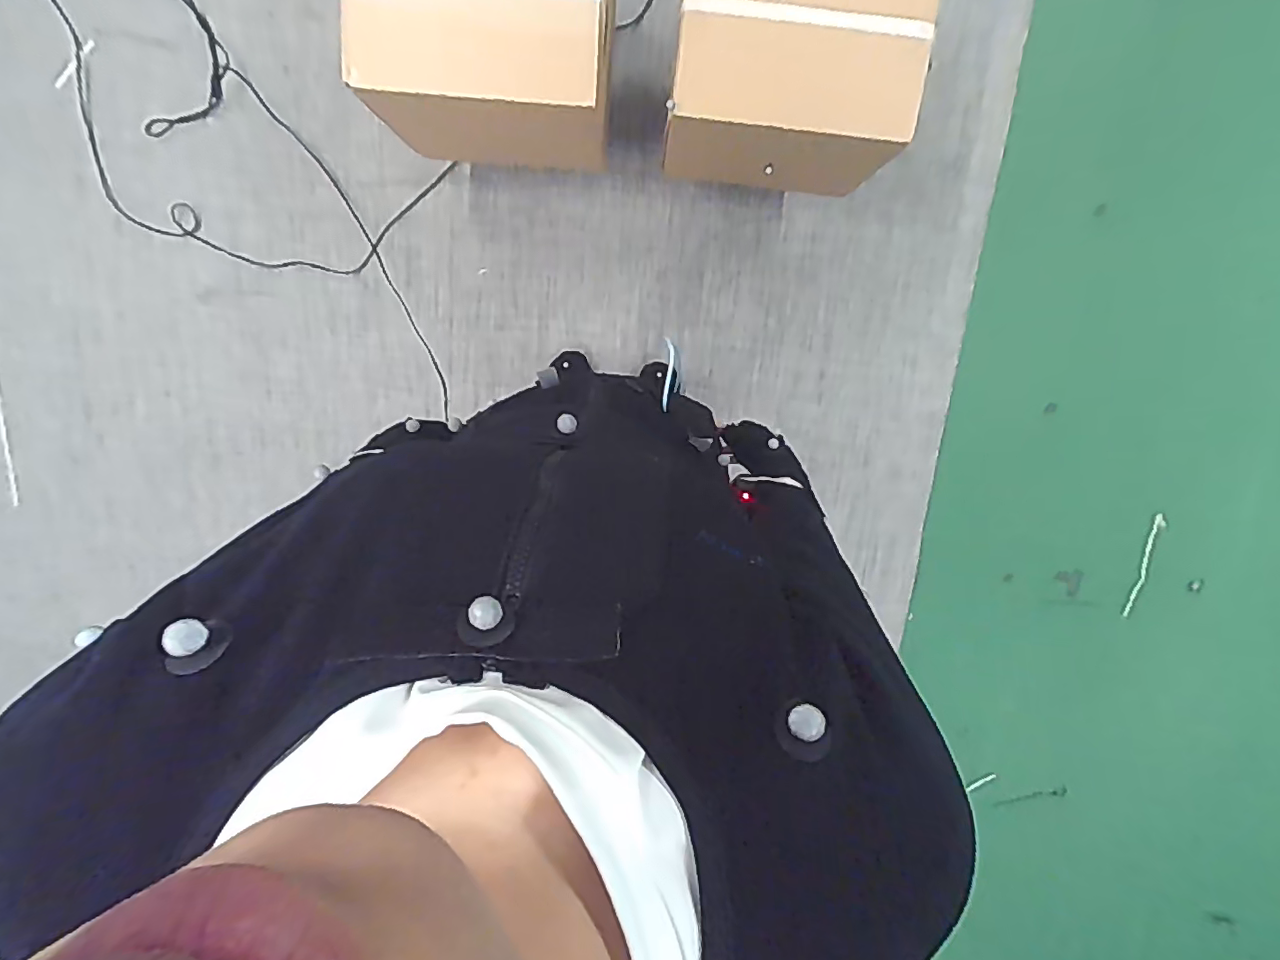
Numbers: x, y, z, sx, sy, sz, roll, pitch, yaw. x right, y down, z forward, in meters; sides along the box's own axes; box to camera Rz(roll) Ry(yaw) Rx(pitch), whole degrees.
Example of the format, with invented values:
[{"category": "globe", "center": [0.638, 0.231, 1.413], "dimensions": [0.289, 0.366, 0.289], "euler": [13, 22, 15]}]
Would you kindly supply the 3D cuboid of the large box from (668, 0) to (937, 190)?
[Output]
[{"category": "large box", "center": [0.274, -0.769, 1.015], "dimensions": [0.408, 0.320, 0.320], "euler": [6, 103, -1]}]
